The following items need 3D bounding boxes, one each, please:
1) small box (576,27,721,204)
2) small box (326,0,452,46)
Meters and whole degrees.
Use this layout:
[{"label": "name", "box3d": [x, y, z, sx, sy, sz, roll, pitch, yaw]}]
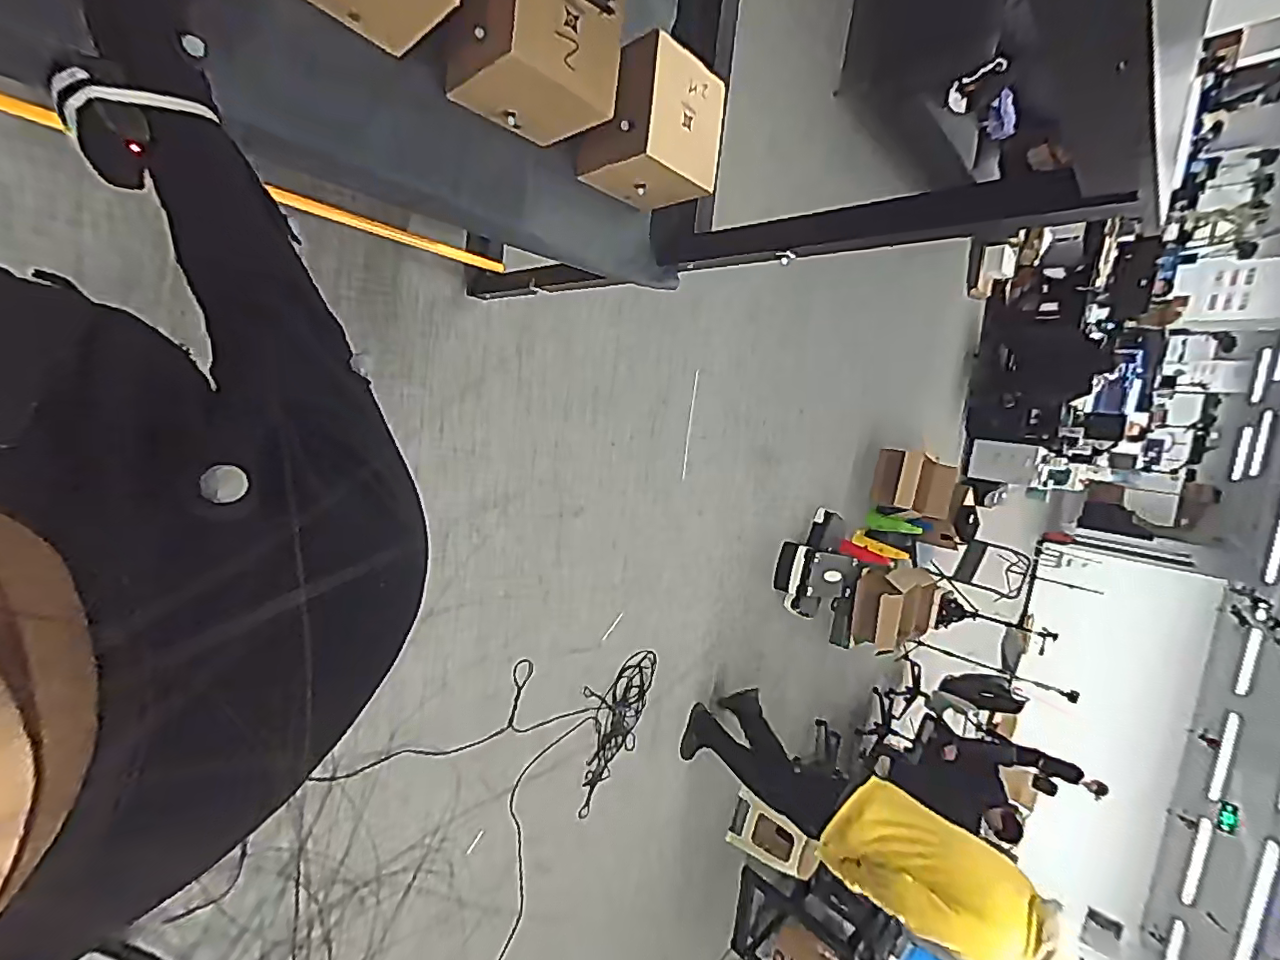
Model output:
[{"label": "small box", "box3d": [0.011, -0.584, 0.901, 0.168, 0.176, 0.179, -2, 101, -46]}, {"label": "small box", "box3d": [-0.294, -0.622, 0.575, 0.168, 0.176, 0.179, 6, 95, -47]}]
